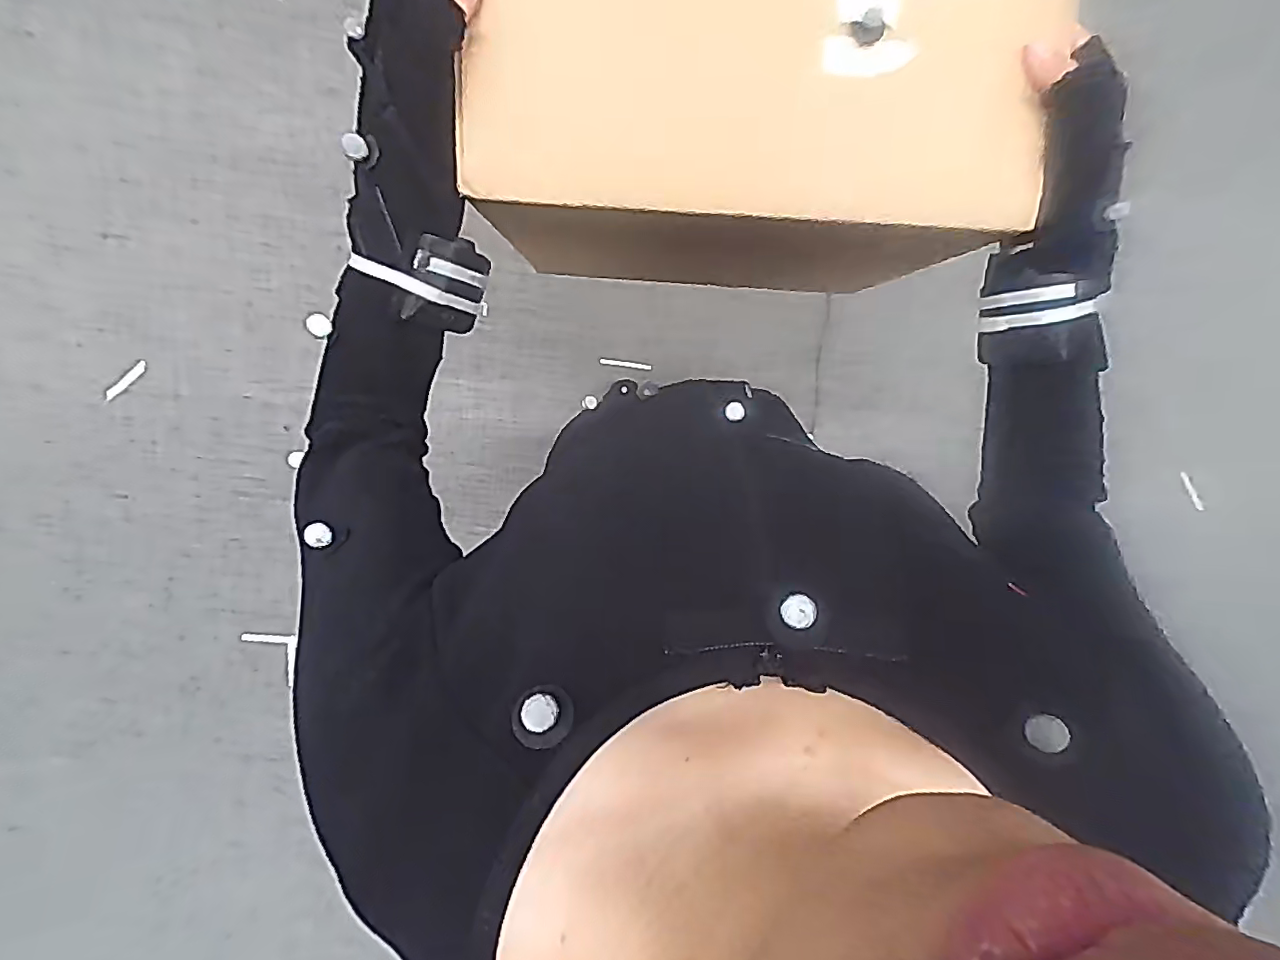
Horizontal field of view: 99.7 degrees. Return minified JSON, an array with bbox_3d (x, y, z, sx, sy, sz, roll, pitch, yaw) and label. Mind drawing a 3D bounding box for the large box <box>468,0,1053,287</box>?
[{"bbox_3d":[0.079,-0.372,0.507,0.408,0.320,0.320,3,101,-2],"label":"large box"}]
